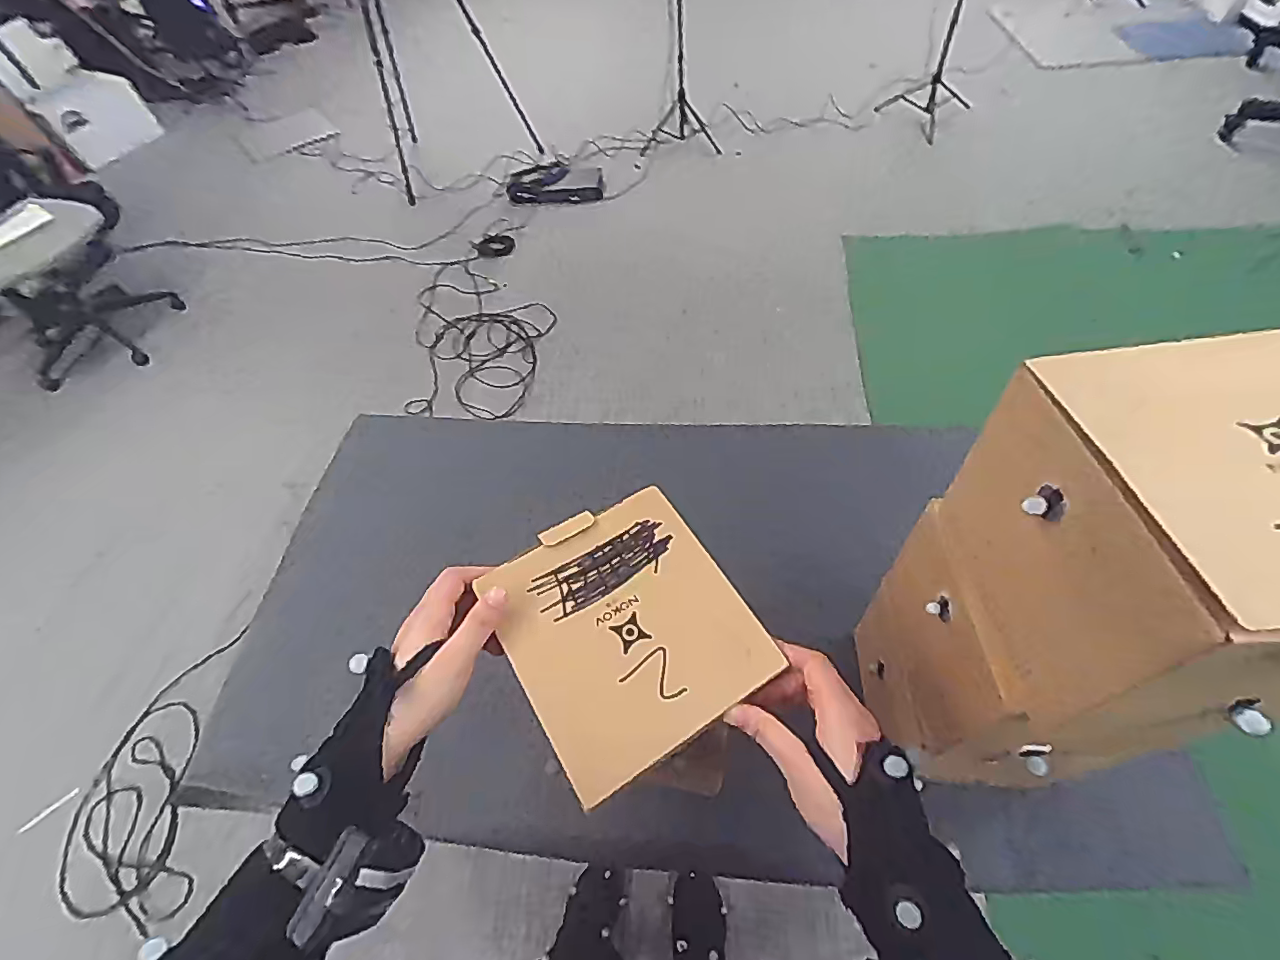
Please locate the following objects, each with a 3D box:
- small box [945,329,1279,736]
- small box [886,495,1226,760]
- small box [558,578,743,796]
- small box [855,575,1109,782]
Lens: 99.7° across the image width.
[{"bbox_3d":[0.318,0.036,0.325,0.168,0.176,0.179,-7,53,4],"label":"small box"},{"bbox_3d":[0.331,0.127,0.462,0.168,0.176,0.179,-3,54,5],"label":"small box"},{"bbox_3d":[0.021,0.238,0.621,0.168,0.176,0.179,7,54,11],"label":"small box"},{"bbox_3d":[0.349,0.221,0.594,0.168,0.176,0.179,0,52,7],"label":"small box"}]
